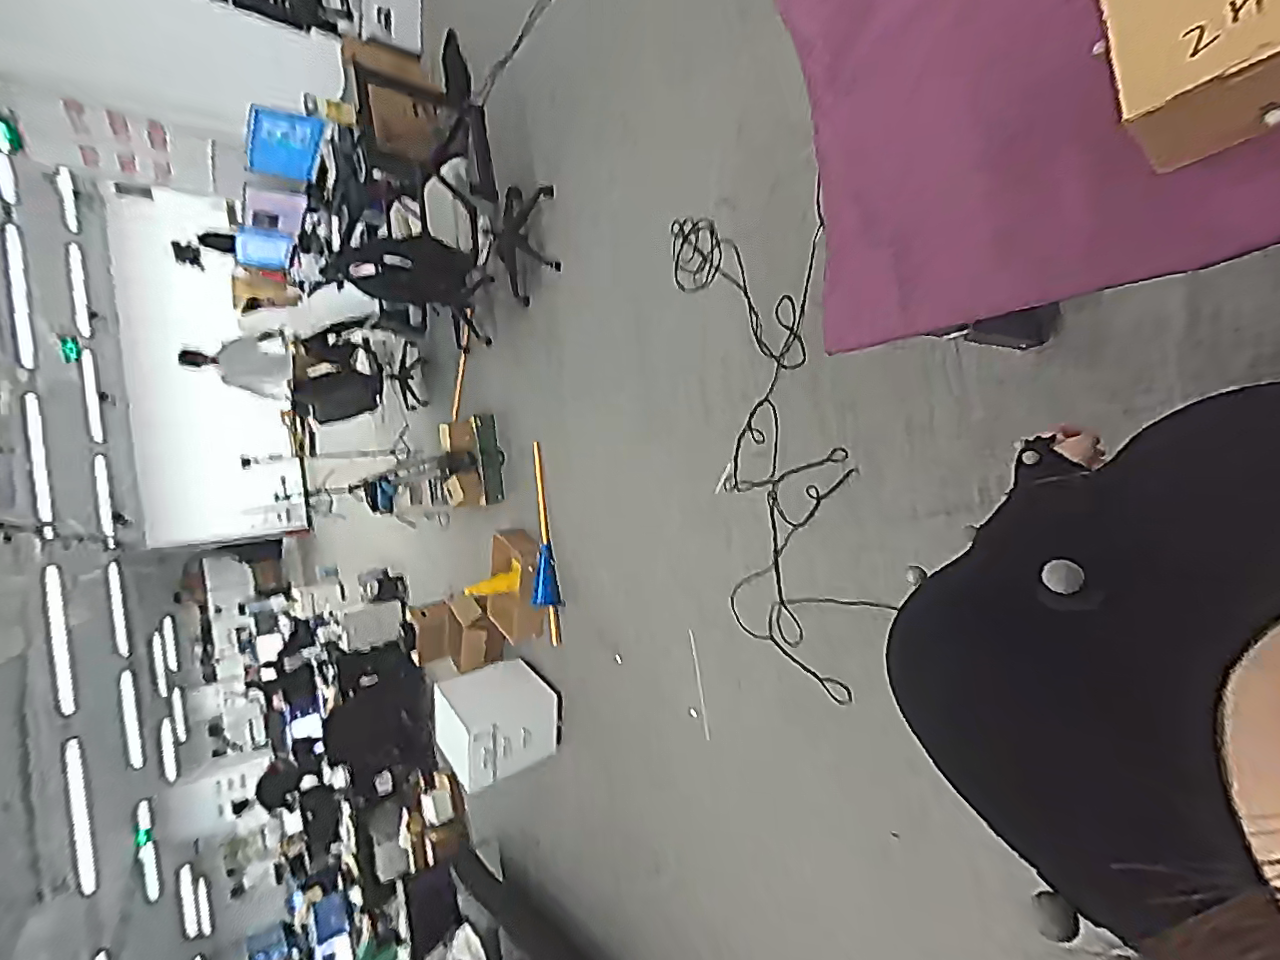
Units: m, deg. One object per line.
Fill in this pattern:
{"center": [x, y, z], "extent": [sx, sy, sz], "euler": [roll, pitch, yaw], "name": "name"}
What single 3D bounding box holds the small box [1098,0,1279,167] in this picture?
{"center": [0.518, -0.411, 0.461], "extent": [0.168, 0.176, 0.179], "euler": [-12, 85, 52], "name": "small box"}
